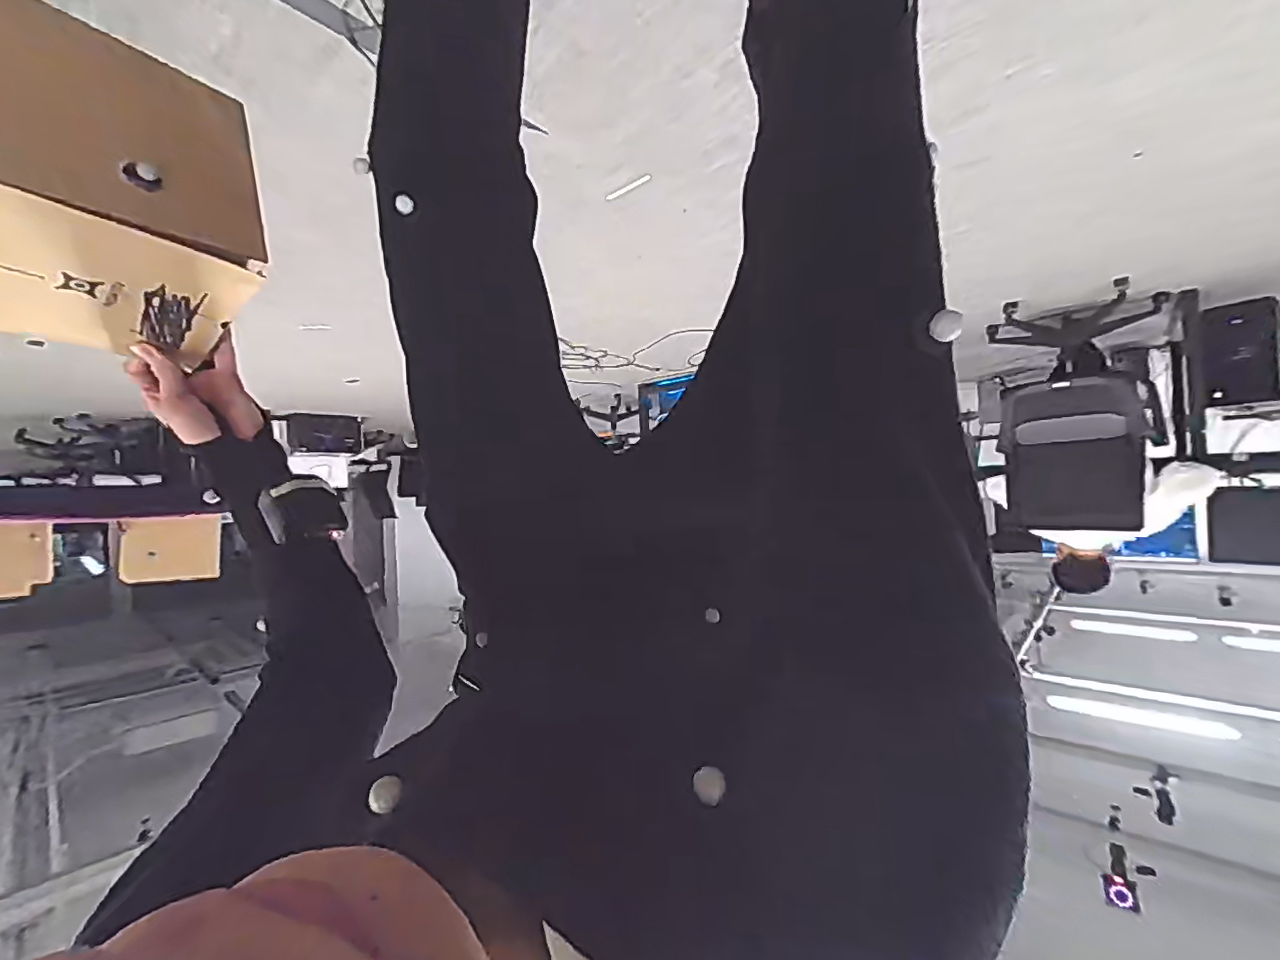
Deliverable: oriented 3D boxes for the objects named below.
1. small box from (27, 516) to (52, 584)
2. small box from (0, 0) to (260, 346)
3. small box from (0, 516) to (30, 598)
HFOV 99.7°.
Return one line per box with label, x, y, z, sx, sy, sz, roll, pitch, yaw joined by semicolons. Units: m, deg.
small box;-1.620;0.179;1.373;0.179;0.176;0.168;-5;178;44
small box;-0.433;-0.233;0.416;0.168;0.176;0.179;-24;164;31
small box;-1.432;0.166;1.147;0.168;0.176;0.179;-3;178;41
